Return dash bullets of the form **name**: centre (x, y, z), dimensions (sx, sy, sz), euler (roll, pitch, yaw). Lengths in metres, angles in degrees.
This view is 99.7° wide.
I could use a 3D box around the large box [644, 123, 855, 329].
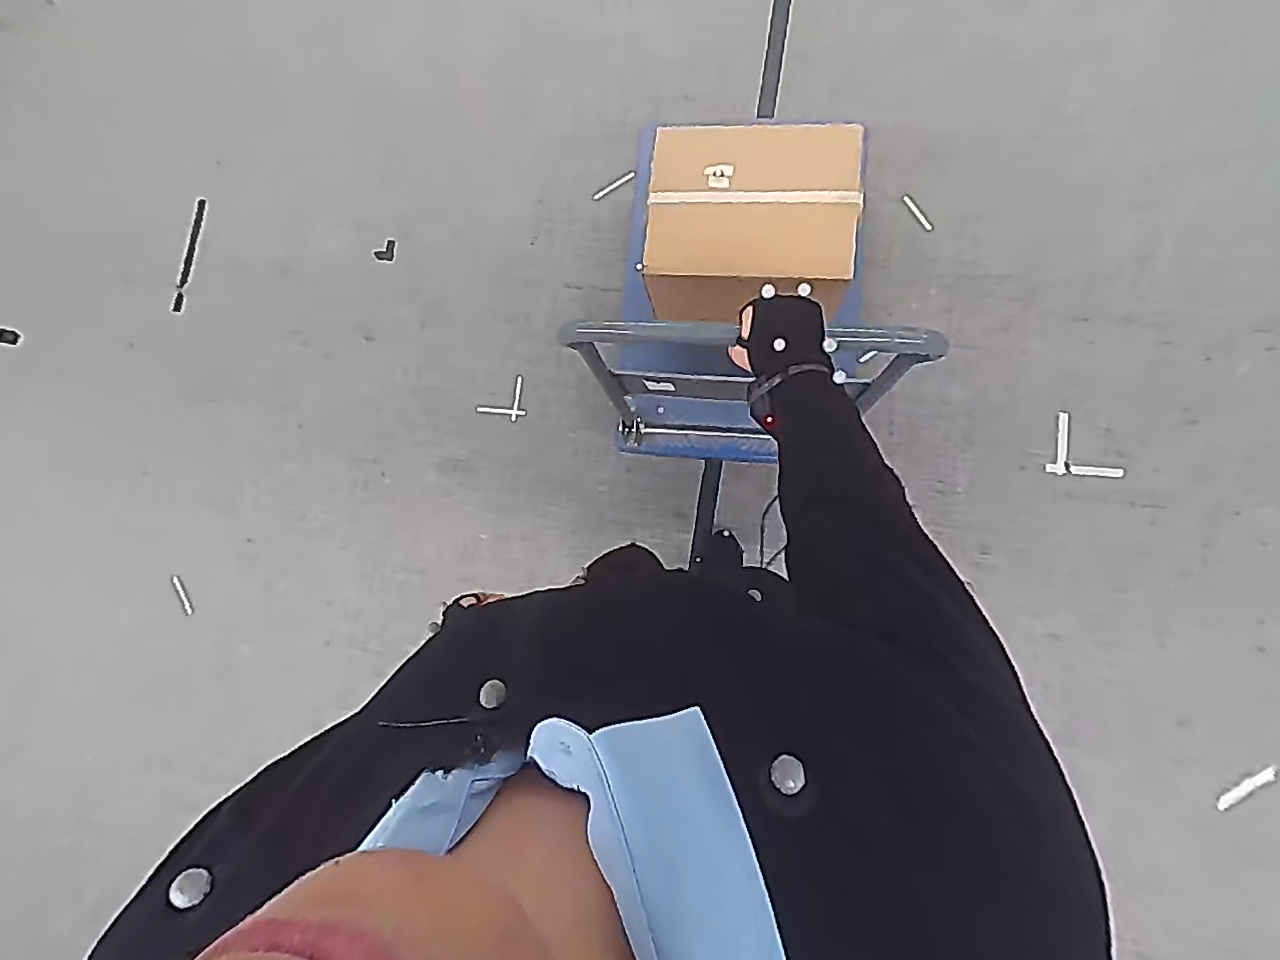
- **large box**: centre (0.241, -0.541, 1.219), dimensions (0.408, 0.320, 0.320), euler (4, 85, 10)
